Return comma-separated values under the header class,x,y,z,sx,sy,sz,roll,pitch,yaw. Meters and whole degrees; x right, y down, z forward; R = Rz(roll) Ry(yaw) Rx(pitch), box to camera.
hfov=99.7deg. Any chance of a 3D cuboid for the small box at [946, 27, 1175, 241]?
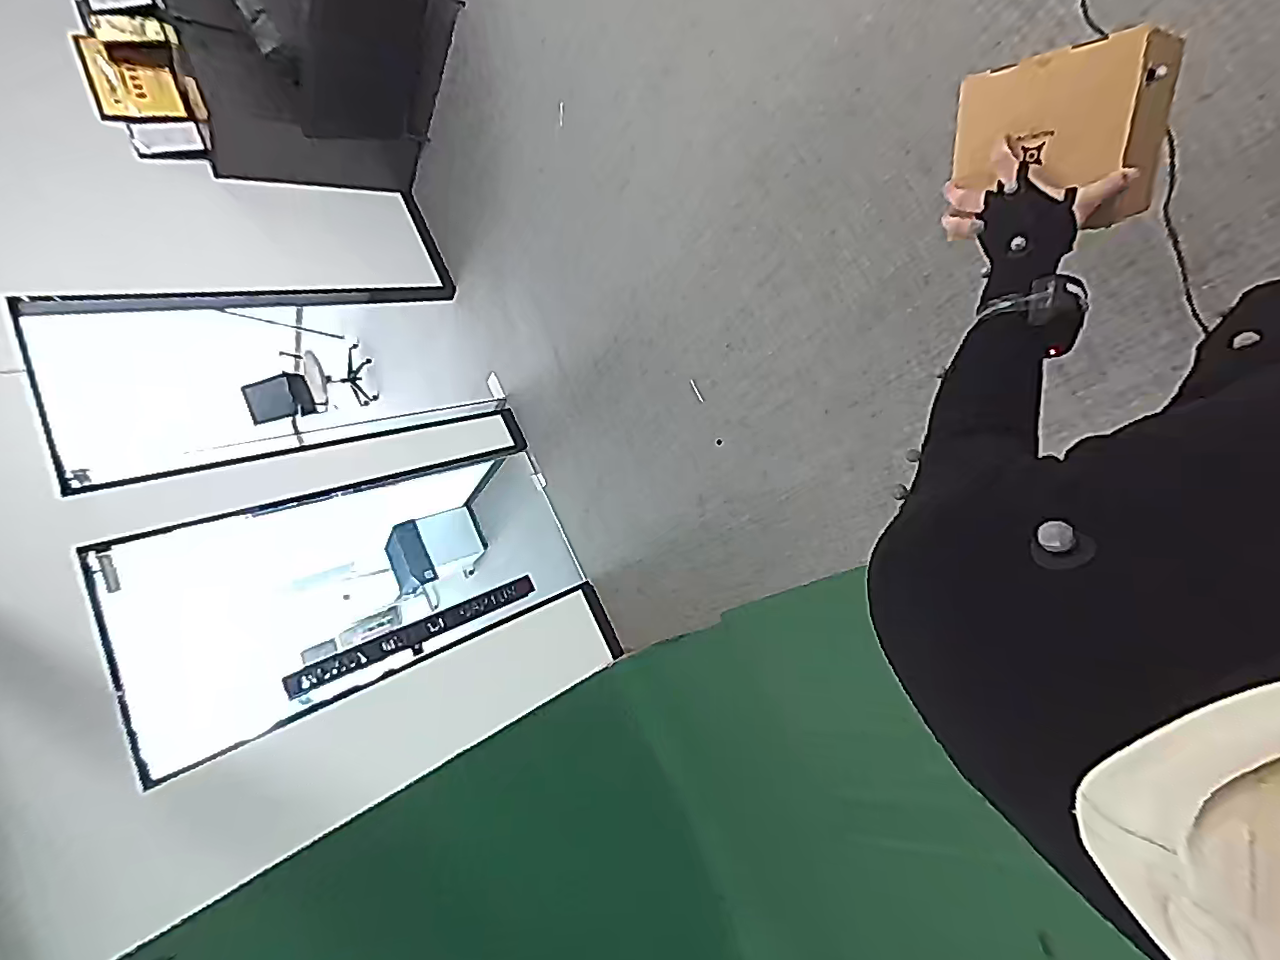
class,x,y,z,sx,sy,sz,roll,pitch,yaw
small box,0.491,-0.394,0.641,0.168,0.176,0.179,19,125,48
